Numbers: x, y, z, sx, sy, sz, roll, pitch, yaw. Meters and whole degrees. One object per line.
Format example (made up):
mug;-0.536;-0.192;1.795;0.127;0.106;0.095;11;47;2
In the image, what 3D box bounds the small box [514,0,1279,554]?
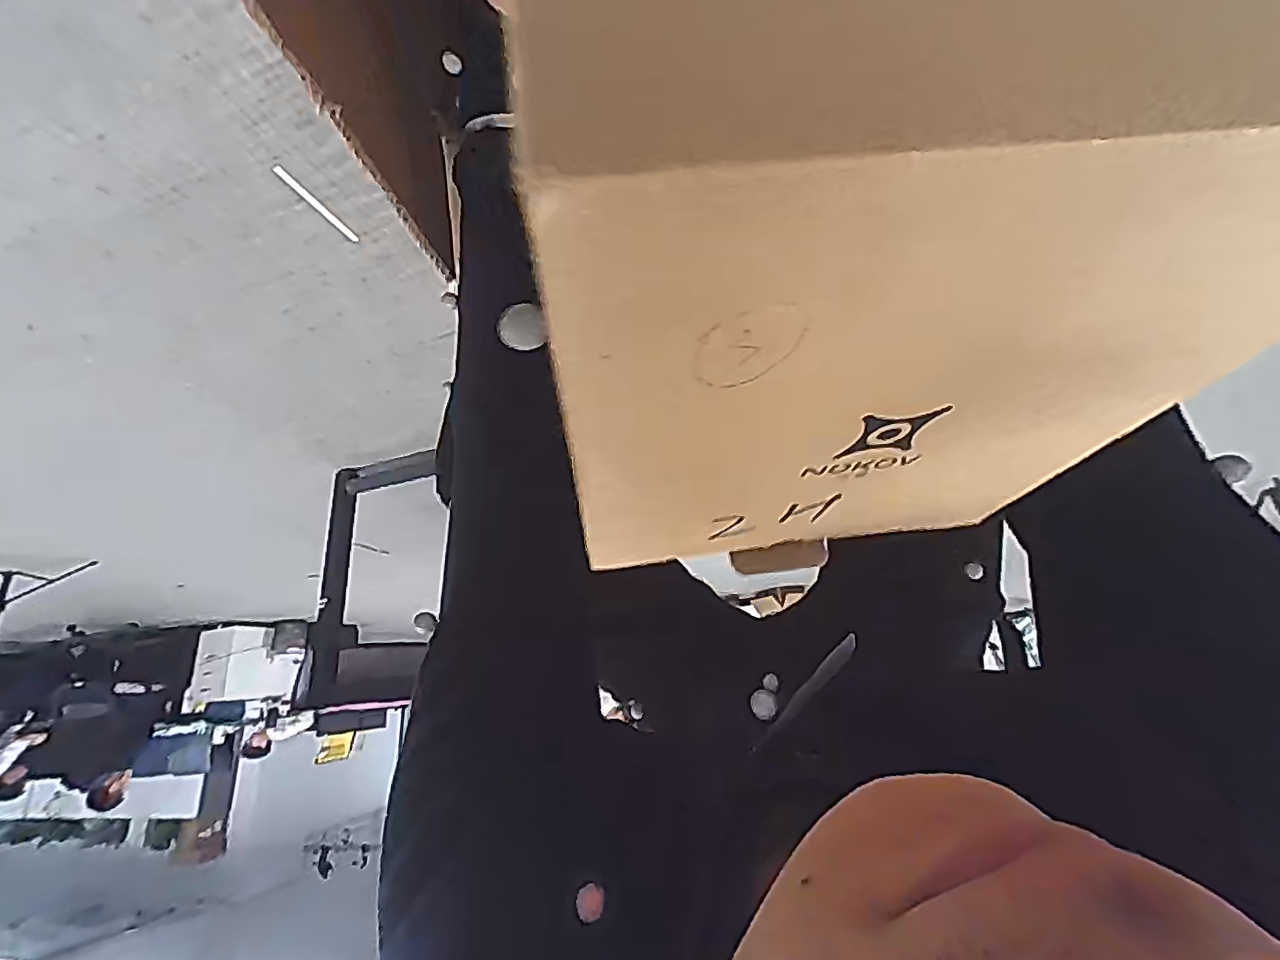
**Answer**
small box;0.050;-0.088;0.182;0.168;0.176;0.179;-6;157;-5
